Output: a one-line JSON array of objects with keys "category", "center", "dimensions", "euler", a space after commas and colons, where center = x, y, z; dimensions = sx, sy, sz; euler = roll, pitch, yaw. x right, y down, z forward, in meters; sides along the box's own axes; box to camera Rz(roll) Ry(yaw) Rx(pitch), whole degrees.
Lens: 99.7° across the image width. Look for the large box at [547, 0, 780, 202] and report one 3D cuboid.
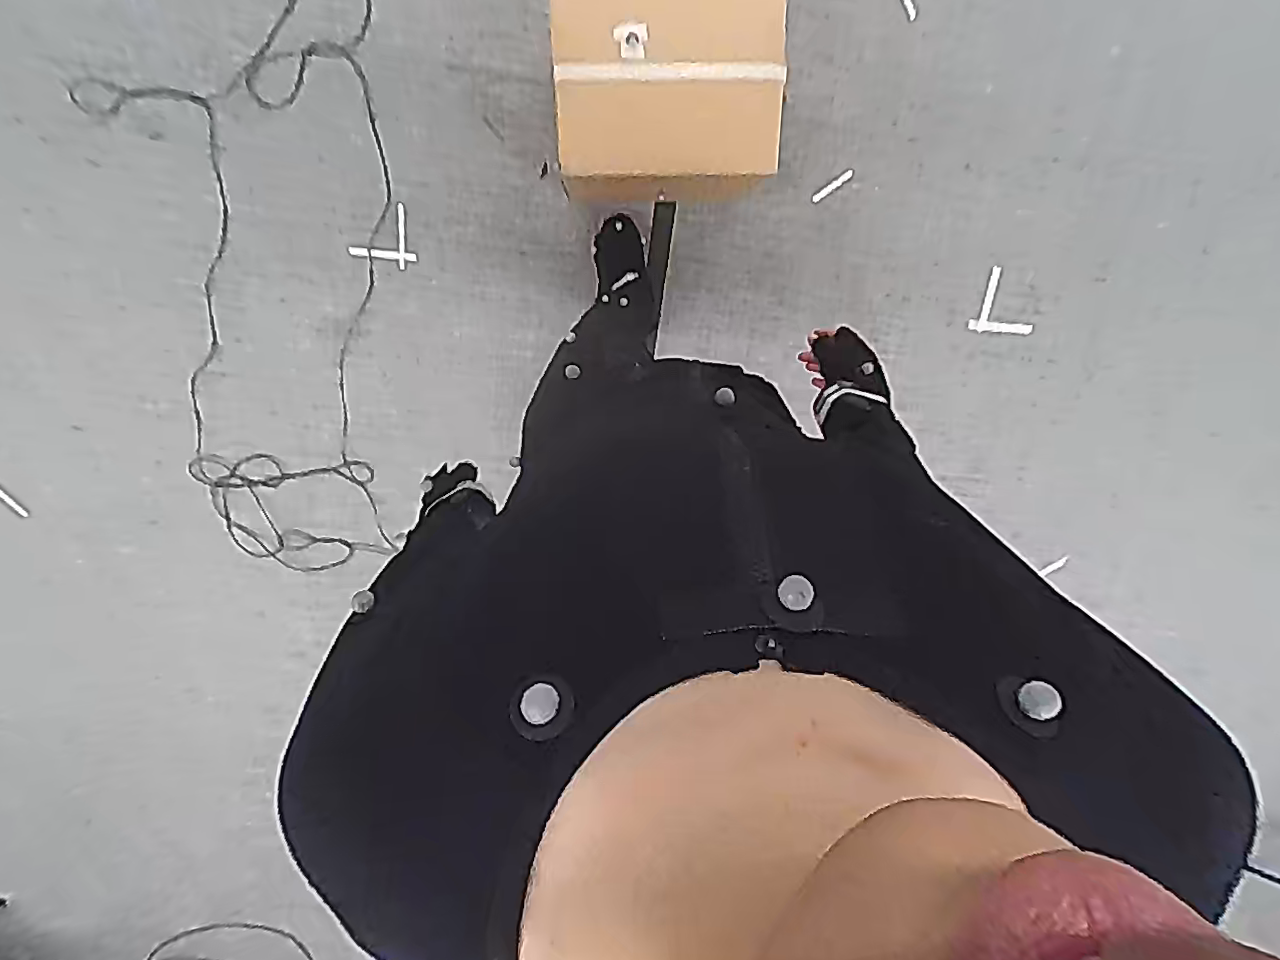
[{"category": "large box", "center": [0.040, -0.754, 1.091], "dimensions": [0.408, 0.320, 0.320], "euler": [-2, 109, -2]}]
